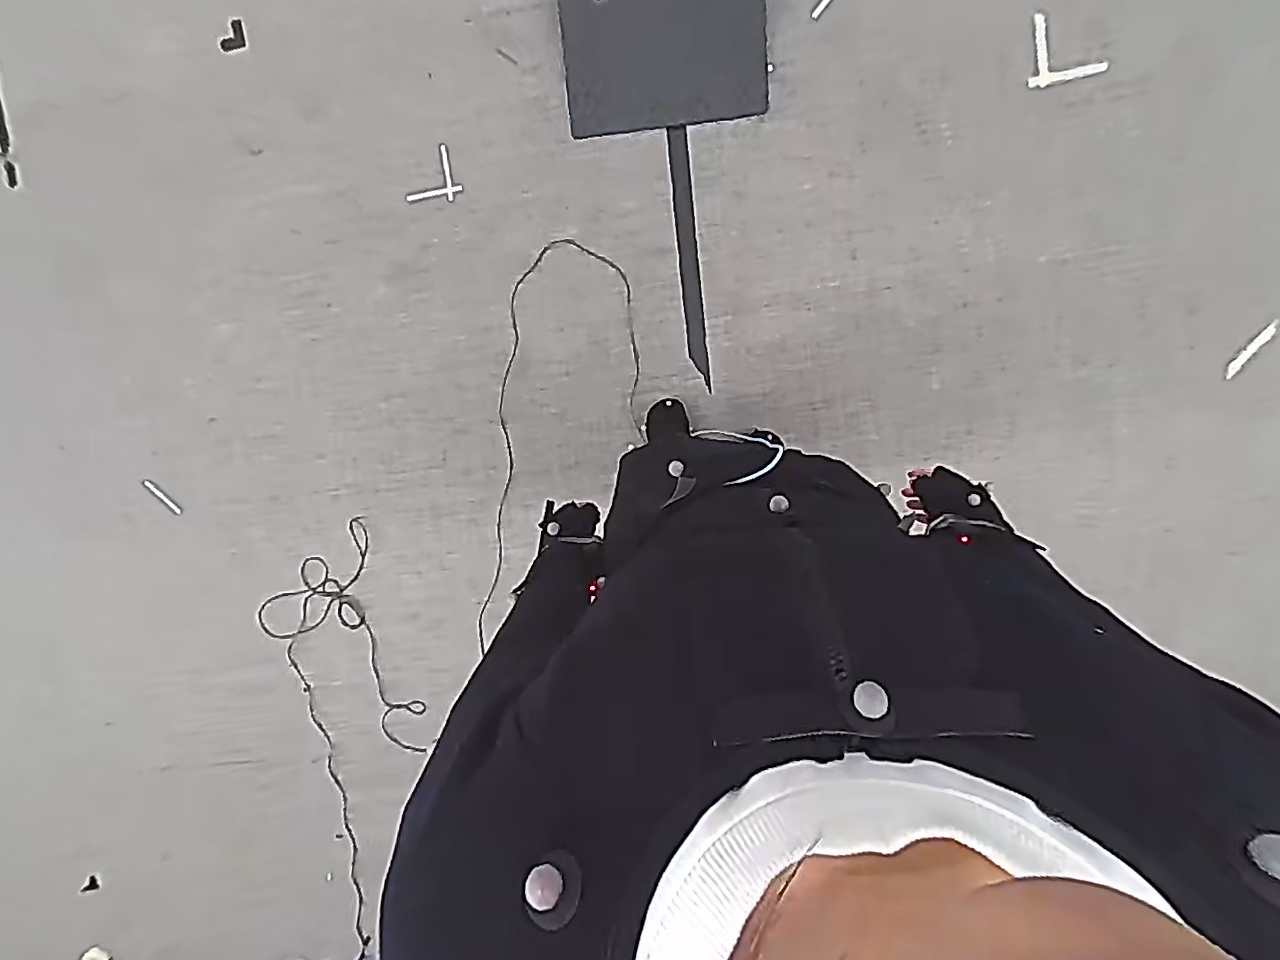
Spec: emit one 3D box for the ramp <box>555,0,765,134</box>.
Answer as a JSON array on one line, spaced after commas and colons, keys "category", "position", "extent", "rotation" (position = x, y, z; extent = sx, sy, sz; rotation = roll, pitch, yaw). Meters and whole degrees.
[{"category": "ramp", "position": [0.019, -1.365, 1.200], "extent": [0.509, 0.206, 0.991], "rotation": [-6, 97, 5]}]
